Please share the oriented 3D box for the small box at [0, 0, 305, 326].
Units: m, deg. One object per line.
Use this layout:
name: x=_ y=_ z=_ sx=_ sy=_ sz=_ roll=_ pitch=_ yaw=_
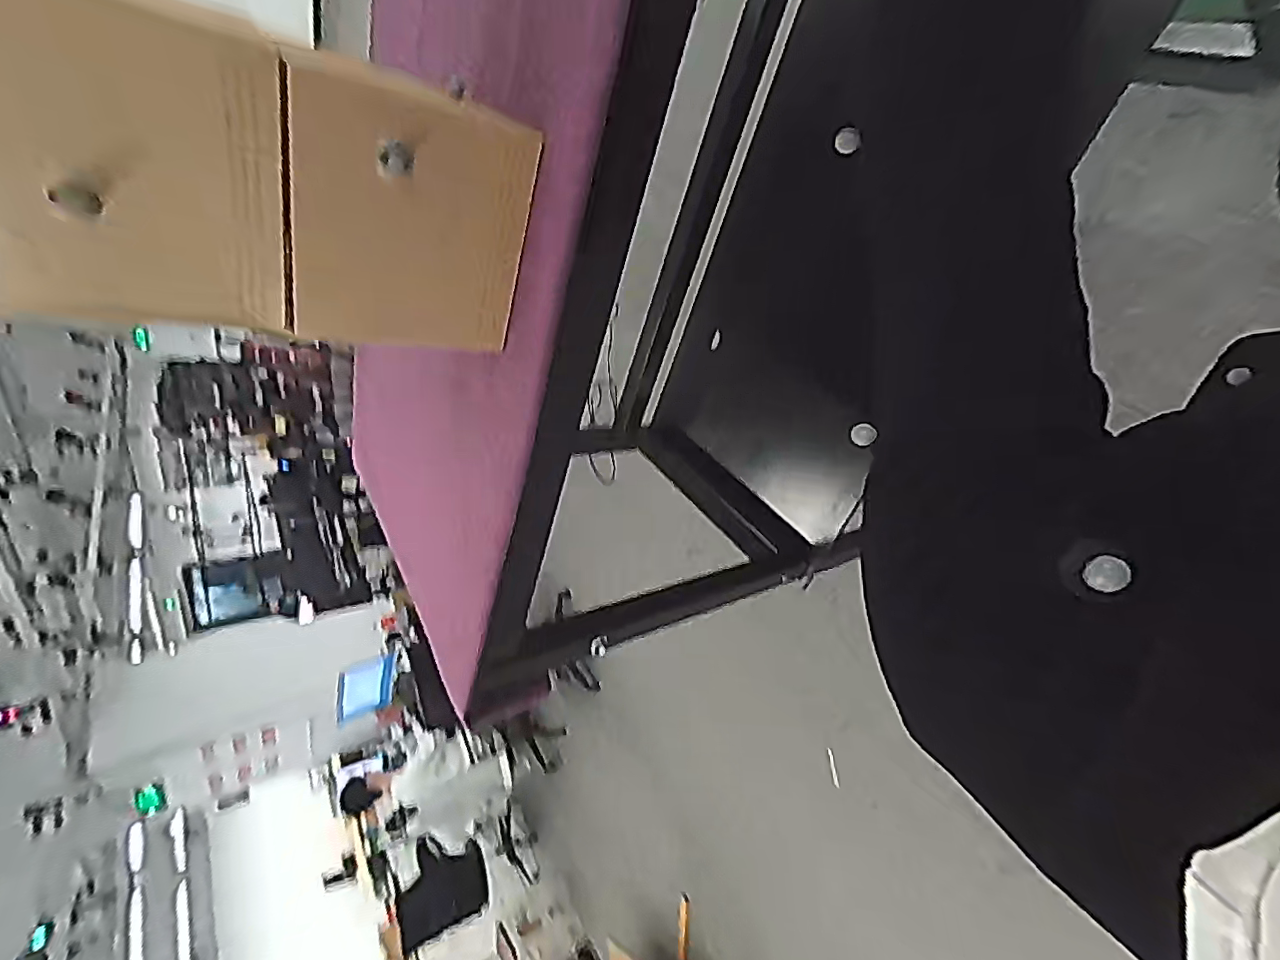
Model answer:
small box: x=-0.329 y=-0.216 z=0.356 sx=0.168 sy=0.176 sz=0.179 roll=49 pitch=131 yaw=36
